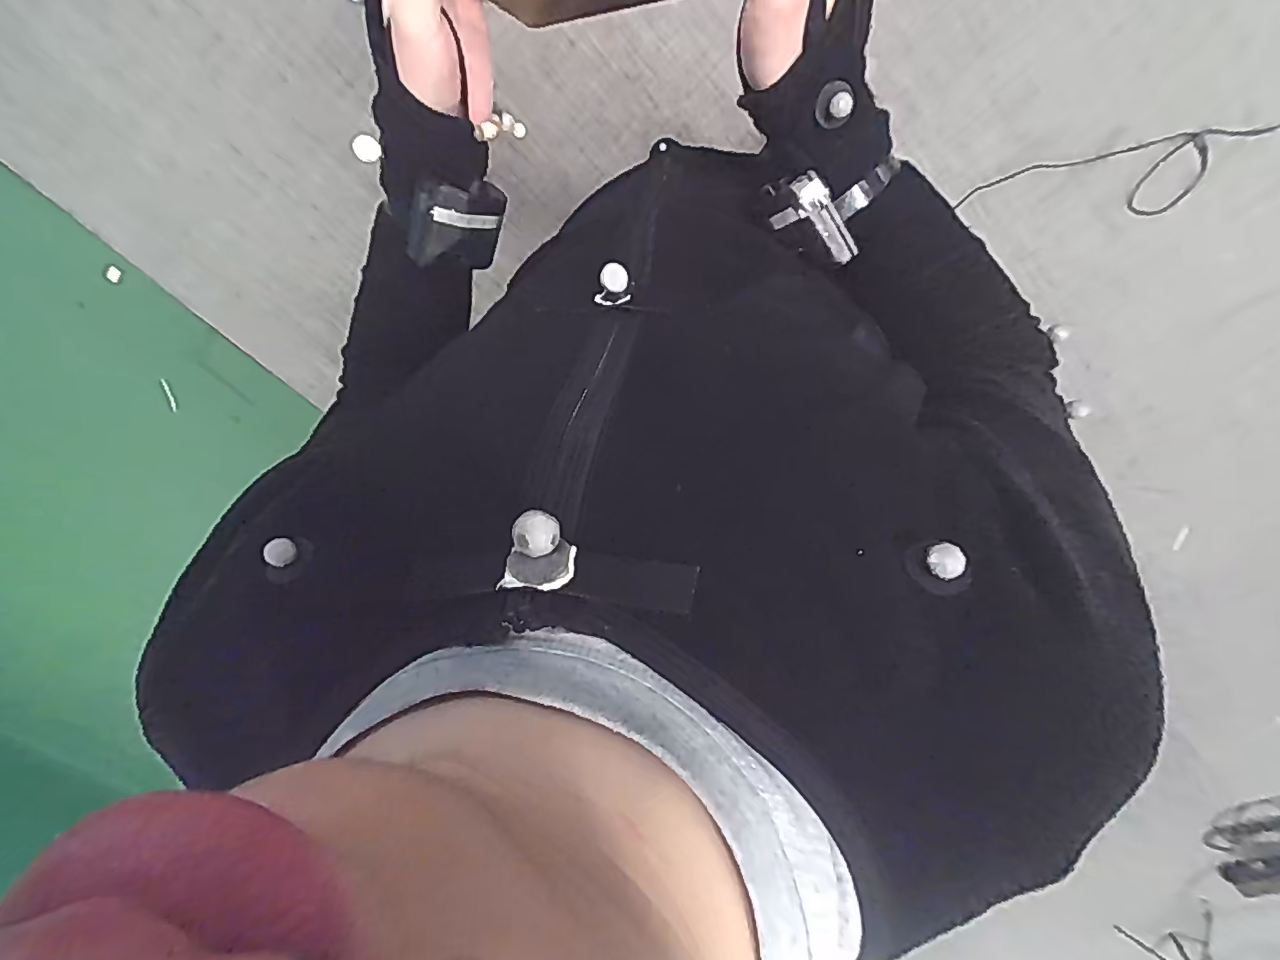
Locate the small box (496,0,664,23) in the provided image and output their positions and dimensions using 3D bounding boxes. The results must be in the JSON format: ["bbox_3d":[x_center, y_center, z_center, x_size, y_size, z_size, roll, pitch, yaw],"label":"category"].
[{"bbox_3d":[-0.029,-0.381,0.287,0.179,0.176,0.168,1,116,16],"label":"small box"}]
